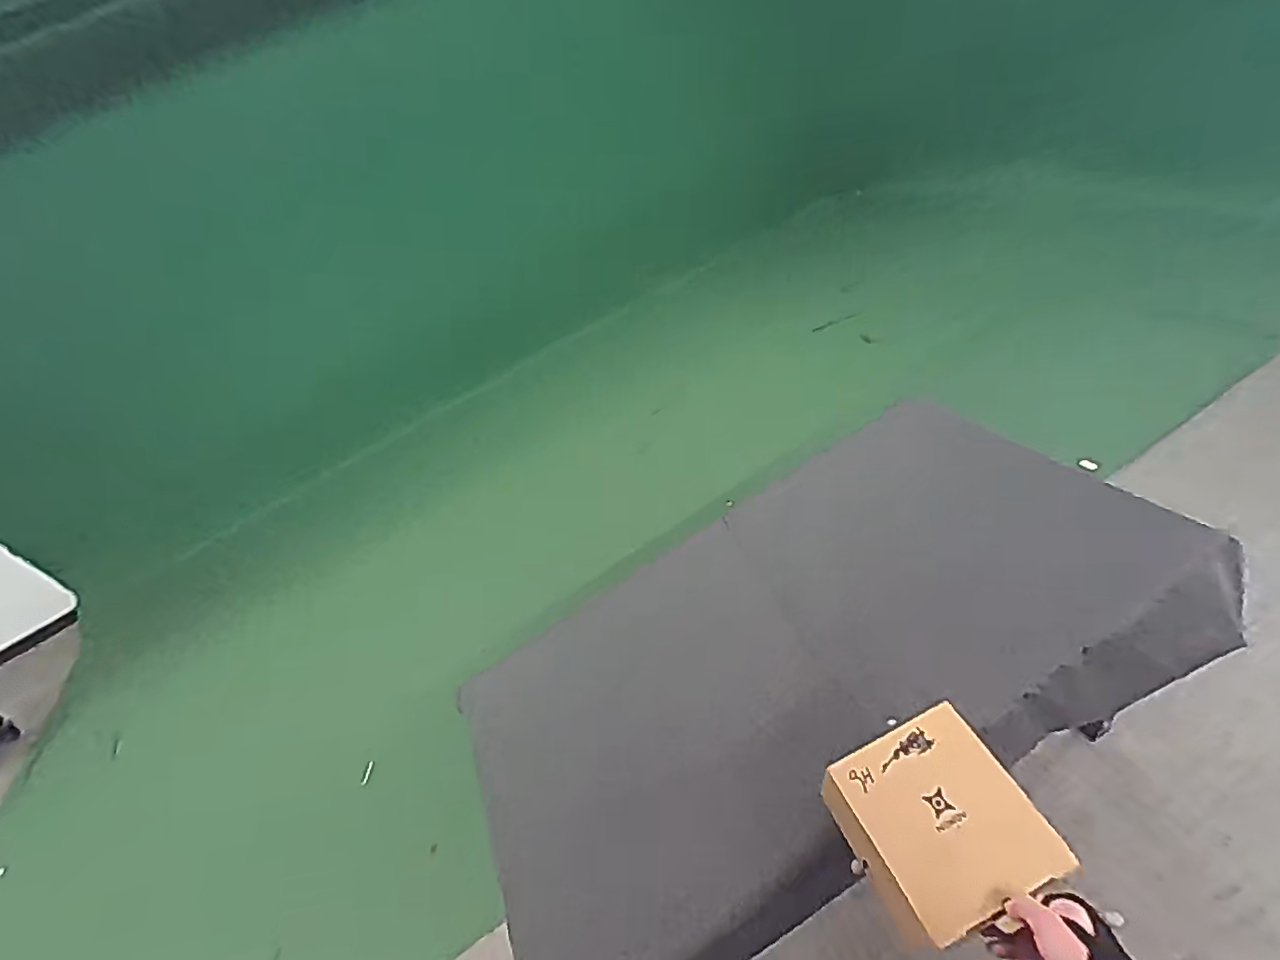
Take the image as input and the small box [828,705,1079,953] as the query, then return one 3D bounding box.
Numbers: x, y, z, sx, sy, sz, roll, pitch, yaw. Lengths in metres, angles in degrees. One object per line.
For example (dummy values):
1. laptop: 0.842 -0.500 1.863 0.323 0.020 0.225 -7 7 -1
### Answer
1. small box: 0.341 0.401 0.630 0.168 0.176 0.179 -27 49 -6
